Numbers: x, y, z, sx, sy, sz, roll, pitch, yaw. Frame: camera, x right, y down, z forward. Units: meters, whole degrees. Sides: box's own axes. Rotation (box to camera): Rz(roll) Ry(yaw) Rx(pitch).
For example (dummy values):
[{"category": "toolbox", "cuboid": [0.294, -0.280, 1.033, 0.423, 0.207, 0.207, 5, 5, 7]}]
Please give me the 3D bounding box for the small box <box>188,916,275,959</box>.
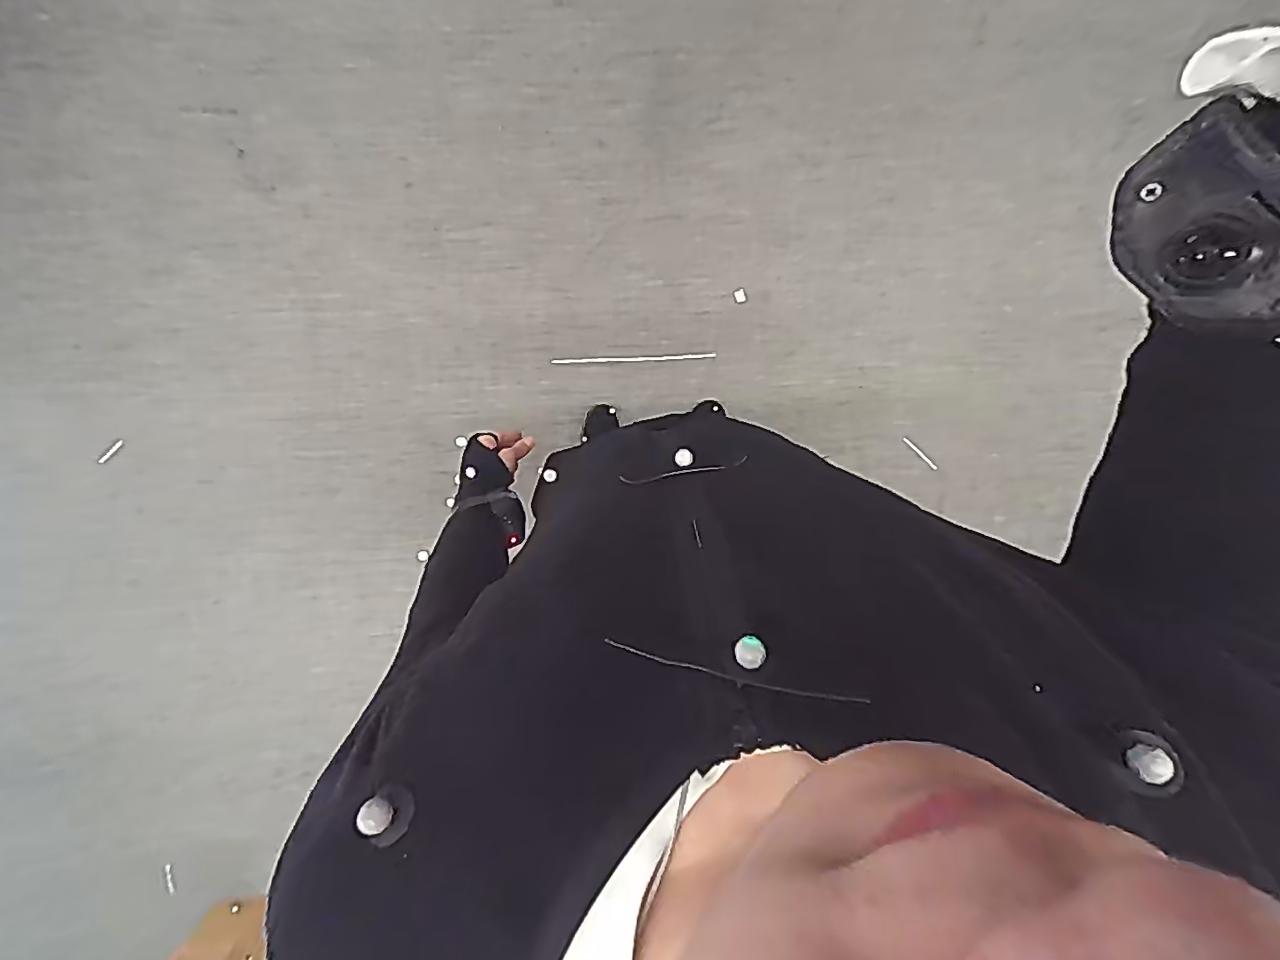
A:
[{"category": "small box", "cuboid": [-1.287, 1.528, 1.705, 0.168, 0.176, 0.179, -3, 96, -1]}]
